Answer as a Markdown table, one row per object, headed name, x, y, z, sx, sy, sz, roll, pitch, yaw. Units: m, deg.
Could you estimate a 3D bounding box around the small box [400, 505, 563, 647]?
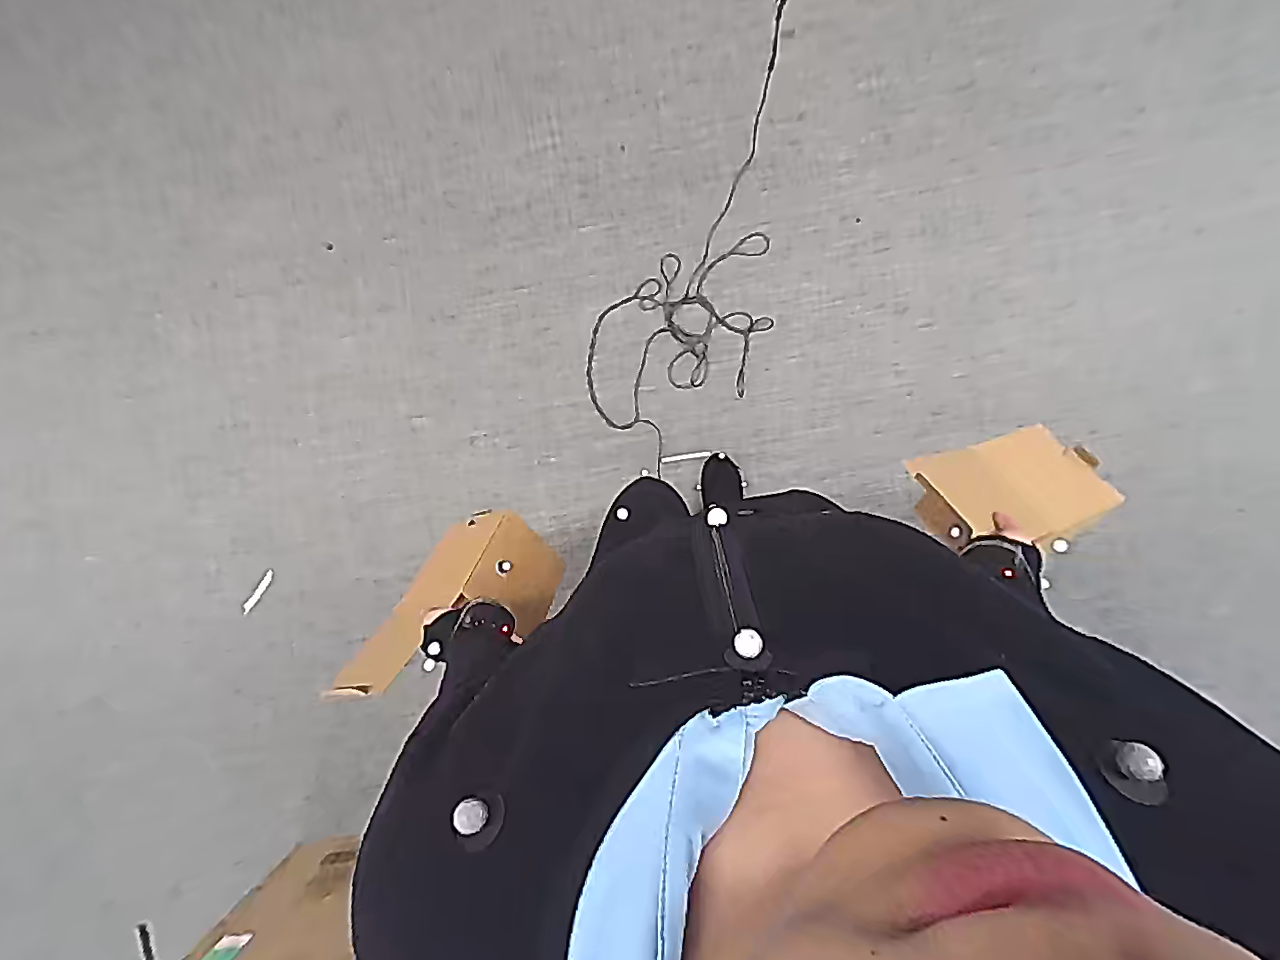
| name | x | y | z | sx | sy | sz | roll | pitch | yaw |
| --- | --- | --- | --- | --- | --- | --- | --- | --- | --- |
| small box | -0.259 | 0.173 | 0.925 | 0.168 | 0.179 | 0.176 | -14 | 128 | 33 |
